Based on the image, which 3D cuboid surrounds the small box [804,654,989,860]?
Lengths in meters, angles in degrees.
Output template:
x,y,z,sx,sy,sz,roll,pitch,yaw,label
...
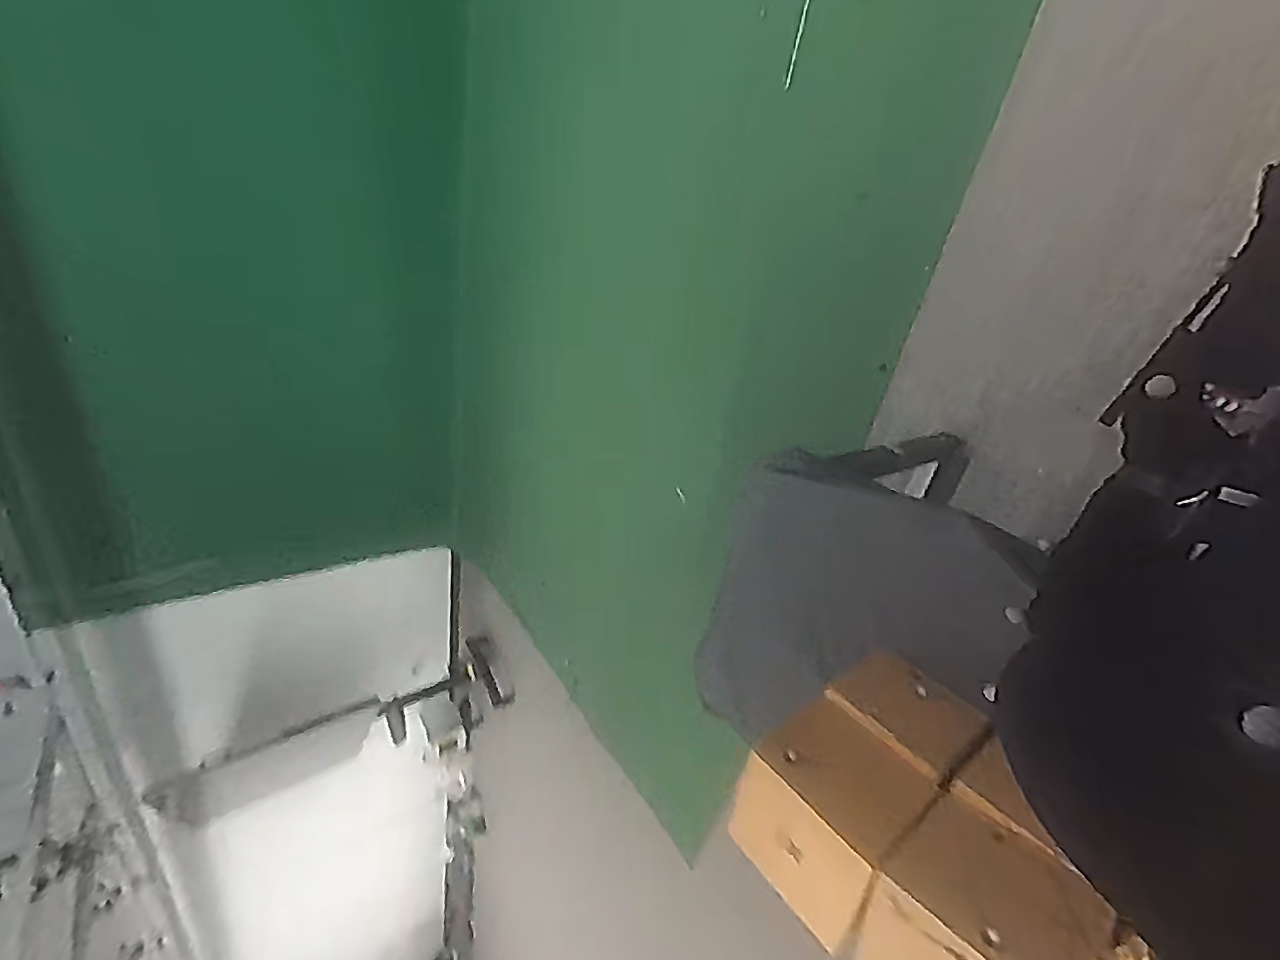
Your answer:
x,y,z,sx,sy,sz,roll,pitch,yaw,label
0.376,0.394,0.797,0.168,0.176,0.179,32,123,42,small box
